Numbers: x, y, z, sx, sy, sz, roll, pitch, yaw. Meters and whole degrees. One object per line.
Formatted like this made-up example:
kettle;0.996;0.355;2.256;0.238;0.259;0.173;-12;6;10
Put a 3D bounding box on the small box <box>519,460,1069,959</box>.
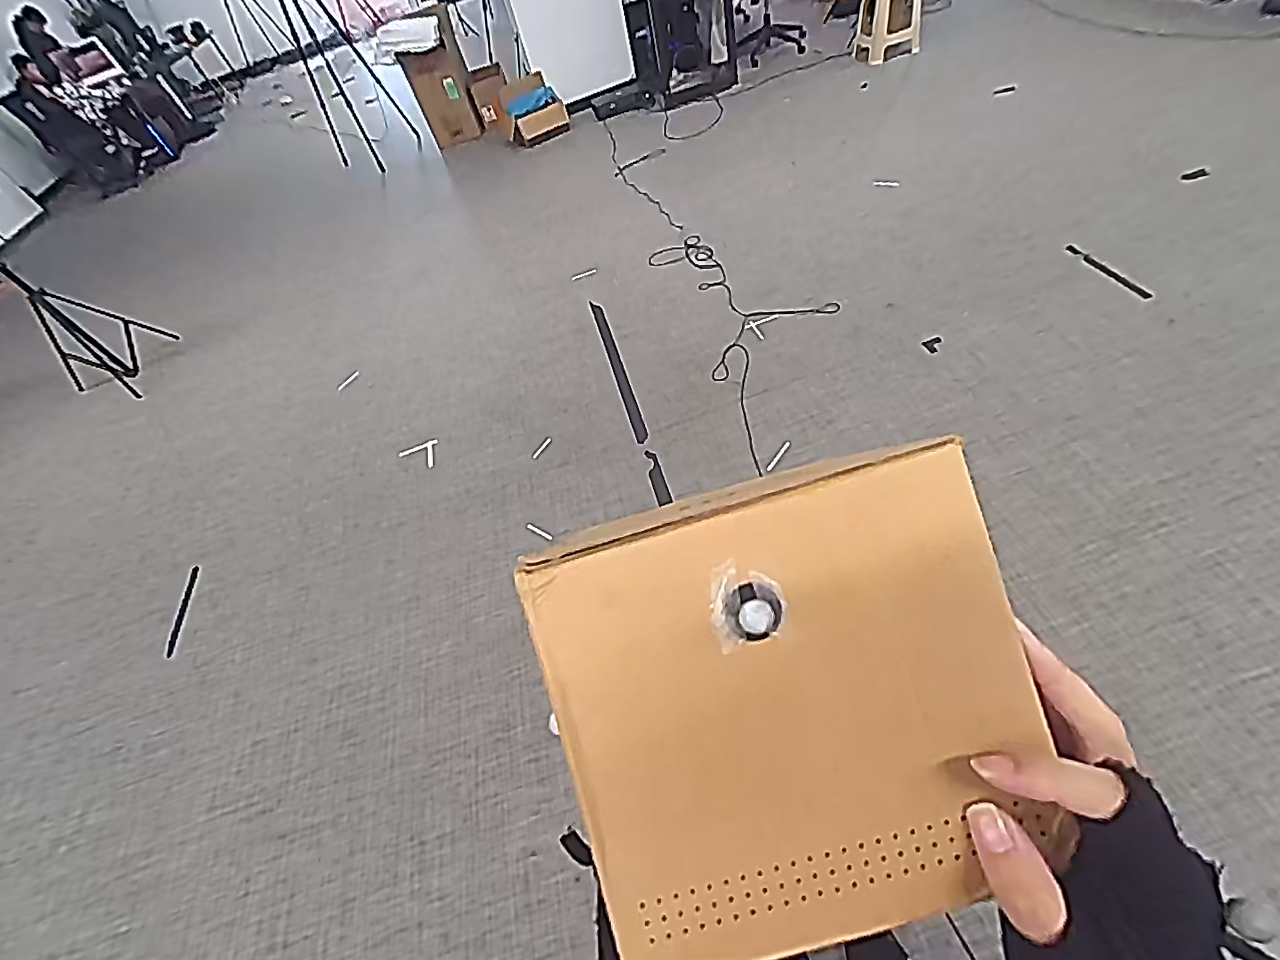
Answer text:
small box;0.062;0.099;0.279;0.179;0.168;0.176;-16;88;2
